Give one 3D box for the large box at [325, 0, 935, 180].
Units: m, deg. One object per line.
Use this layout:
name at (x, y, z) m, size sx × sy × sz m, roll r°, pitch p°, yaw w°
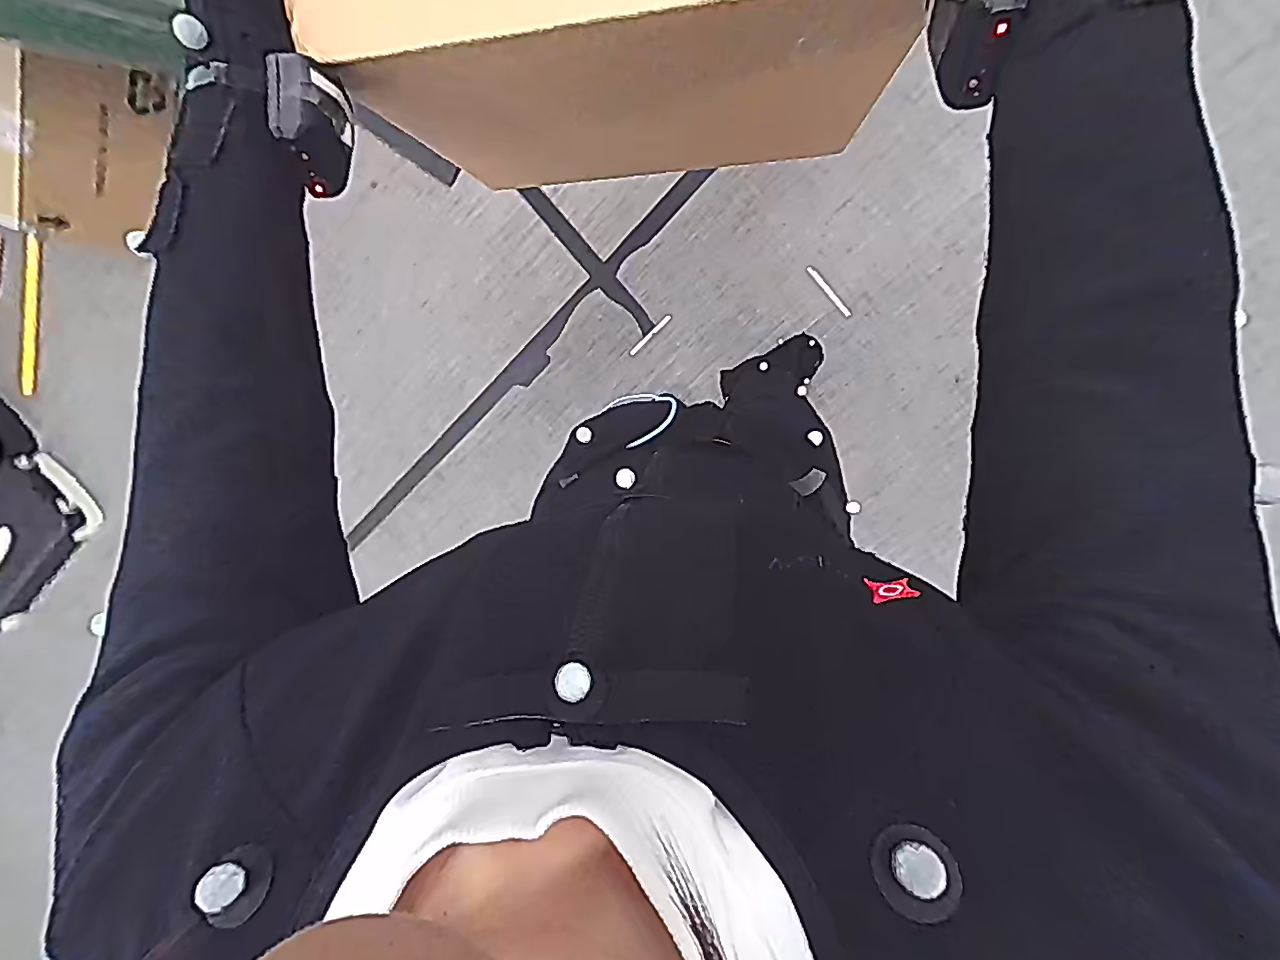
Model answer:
large box at (0.001, -0.473, 0.436) m, size 0.408 × 0.320 × 0.320 m, roll -2°, pitch 105°, yaw 8°
